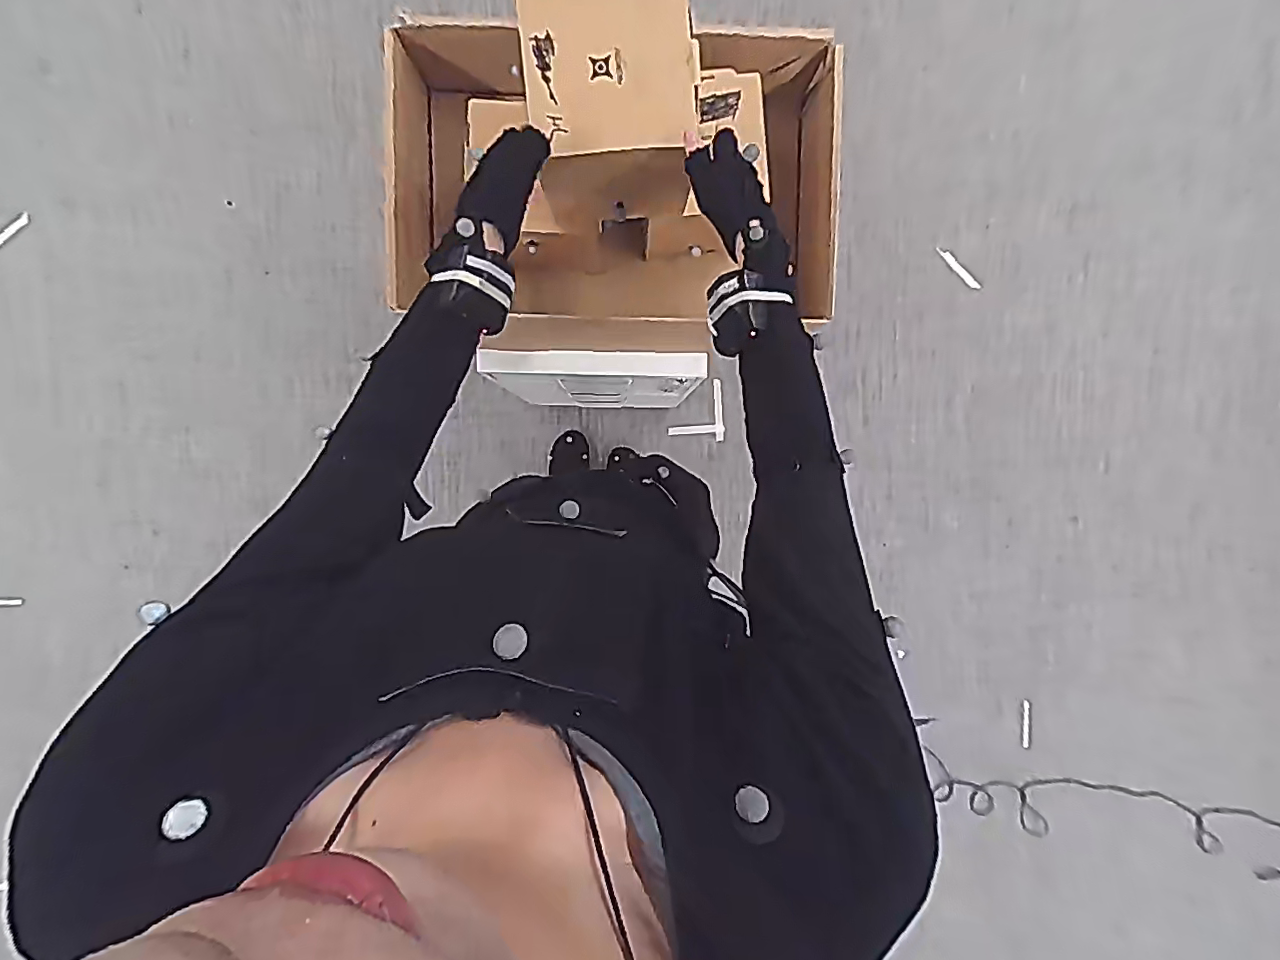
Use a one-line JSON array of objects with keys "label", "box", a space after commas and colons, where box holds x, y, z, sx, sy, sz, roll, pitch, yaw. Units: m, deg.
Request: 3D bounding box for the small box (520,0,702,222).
[{"label": "small box", "box": [-0.032, -0.418, 0.627, 0.179, 0.176, 0.168, -5, 93, -2]}]
